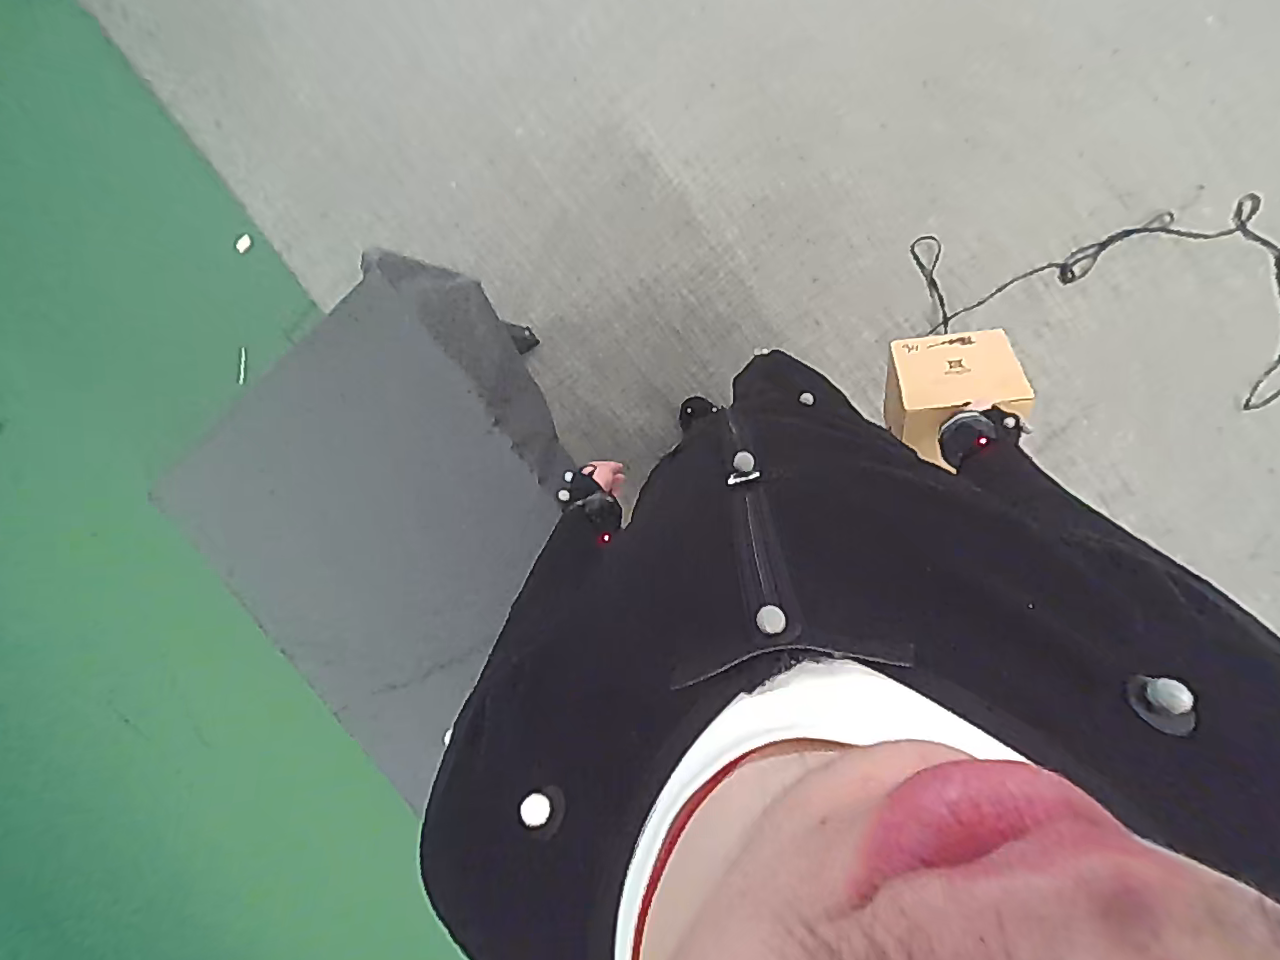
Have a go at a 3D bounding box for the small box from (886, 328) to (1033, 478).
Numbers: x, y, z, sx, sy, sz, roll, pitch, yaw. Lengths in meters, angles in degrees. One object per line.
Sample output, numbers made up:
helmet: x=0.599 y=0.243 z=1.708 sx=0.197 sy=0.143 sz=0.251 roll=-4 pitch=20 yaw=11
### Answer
small box: x=0.502 y=-0.116 z=0.878 sx=0.168 sy=0.179 sz=0.176 roll=-5 pitch=136 yaw=17
